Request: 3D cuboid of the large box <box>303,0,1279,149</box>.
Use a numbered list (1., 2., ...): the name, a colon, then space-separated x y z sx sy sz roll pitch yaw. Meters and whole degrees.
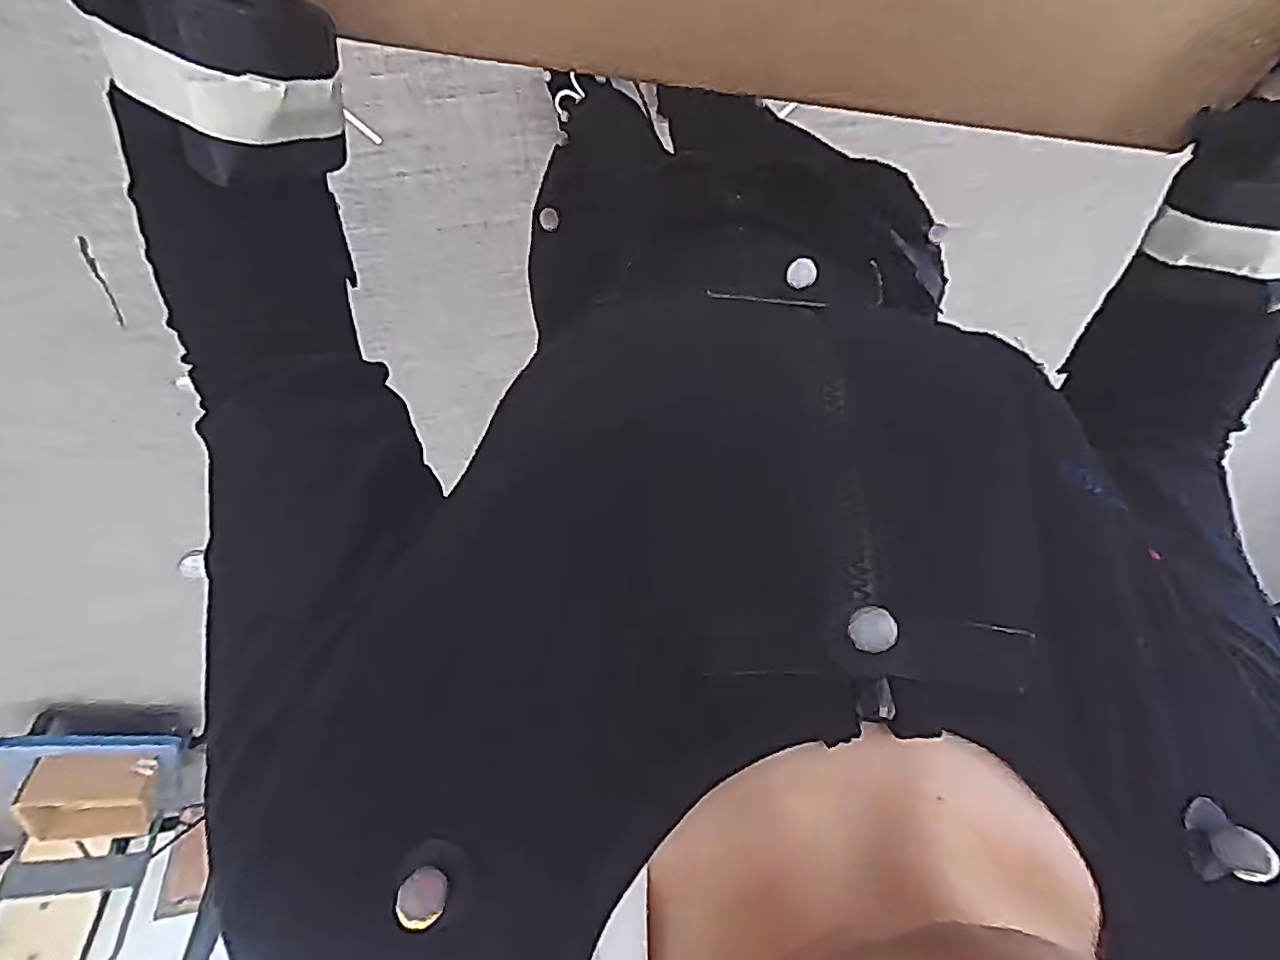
1. large box: 0.075 -0.375 0.179 0.408 0.320 0.320 4 155 -5
